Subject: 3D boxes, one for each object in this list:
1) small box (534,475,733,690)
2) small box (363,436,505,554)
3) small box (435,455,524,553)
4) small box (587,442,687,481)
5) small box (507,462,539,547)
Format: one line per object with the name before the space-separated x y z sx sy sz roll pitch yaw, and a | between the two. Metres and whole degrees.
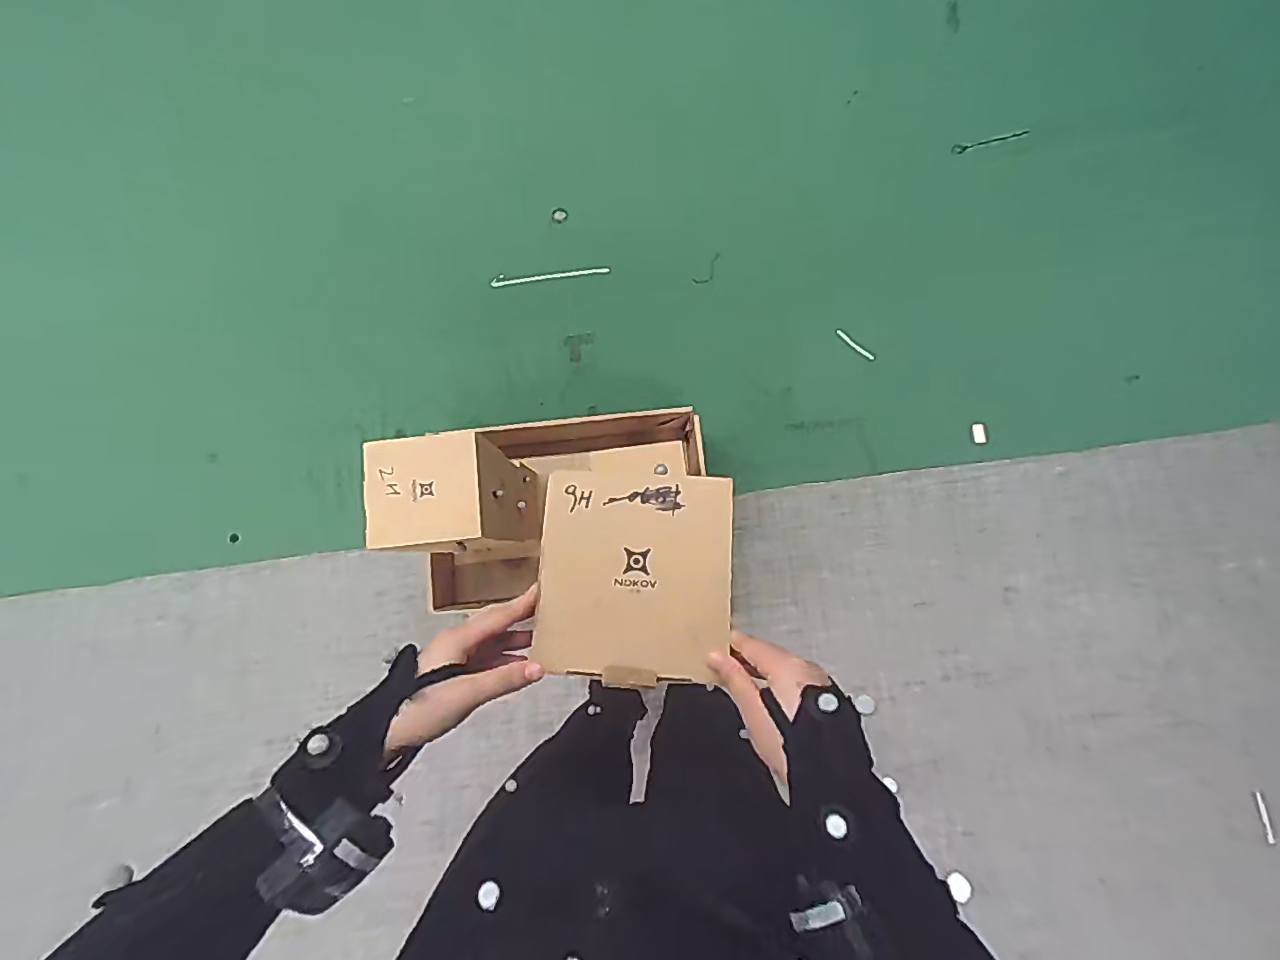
small box | -0.002 0.099 0.540 0.168 0.176 0.179 2 78 1
small box | -0.326 0.031 0.889 0.179 0.176 0.168 -6 82 0
small box | -0.335 0.052 1.053 0.179 0.176 0.168 -6 83 -1
small box | 0.003 0.030 1.049 0.179 0.176 0.168 -8 84 1
small box | -0.329 0.065 1.216 0.168 0.176 0.179 -7 83 0
